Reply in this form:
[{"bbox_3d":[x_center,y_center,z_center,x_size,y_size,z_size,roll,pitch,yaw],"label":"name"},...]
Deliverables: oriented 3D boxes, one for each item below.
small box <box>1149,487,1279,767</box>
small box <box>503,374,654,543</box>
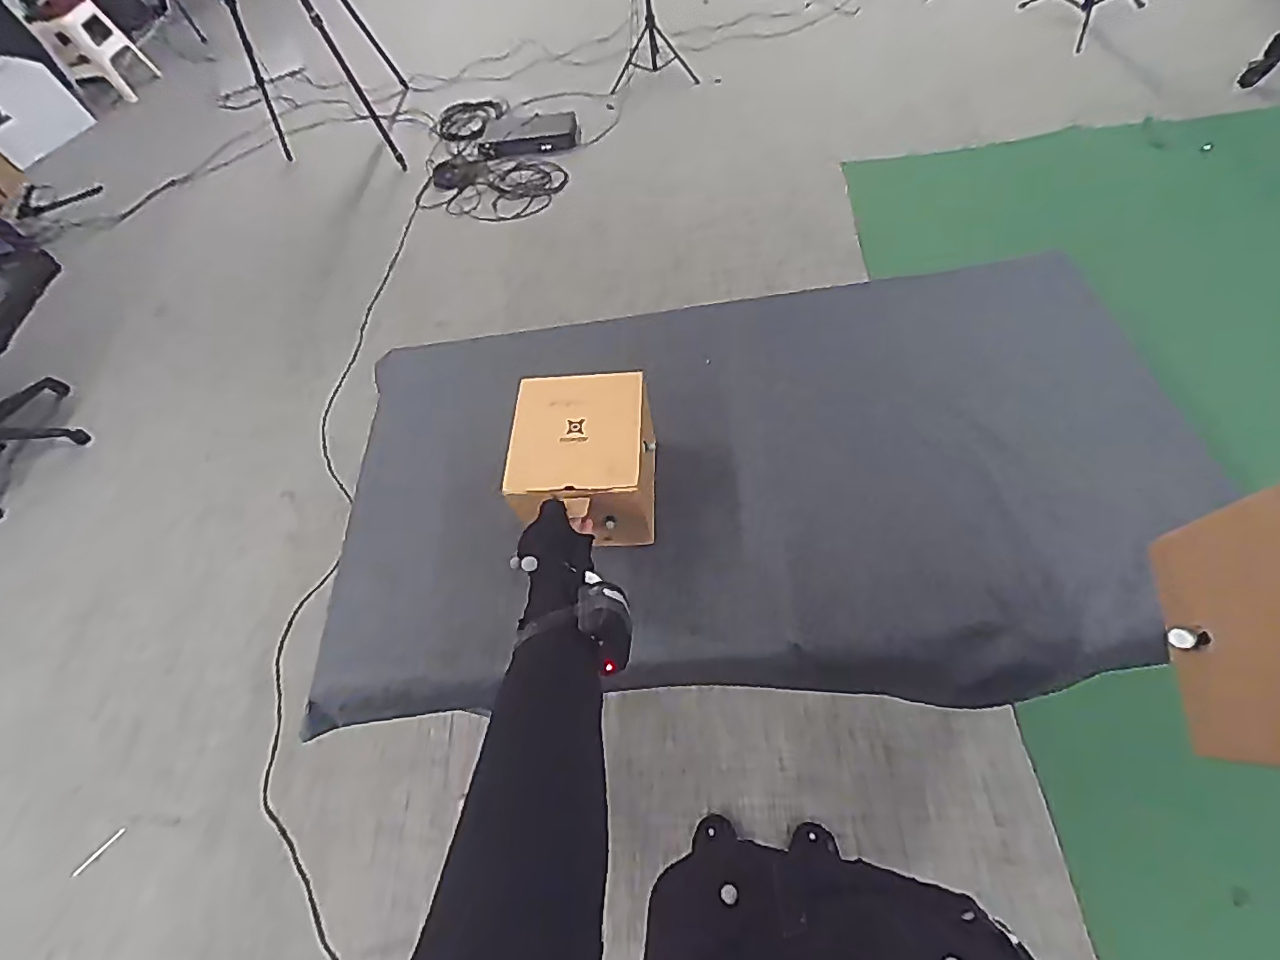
[{"bbox_3d":[0.498,0.109,0.359,0.168,0.176,0.179,2,70,14],"label":"small box"},{"bbox_3d":[-0.070,-0.021,0.736,0.168,0.176,0.179,-2,59,6],"label":"small box"}]
